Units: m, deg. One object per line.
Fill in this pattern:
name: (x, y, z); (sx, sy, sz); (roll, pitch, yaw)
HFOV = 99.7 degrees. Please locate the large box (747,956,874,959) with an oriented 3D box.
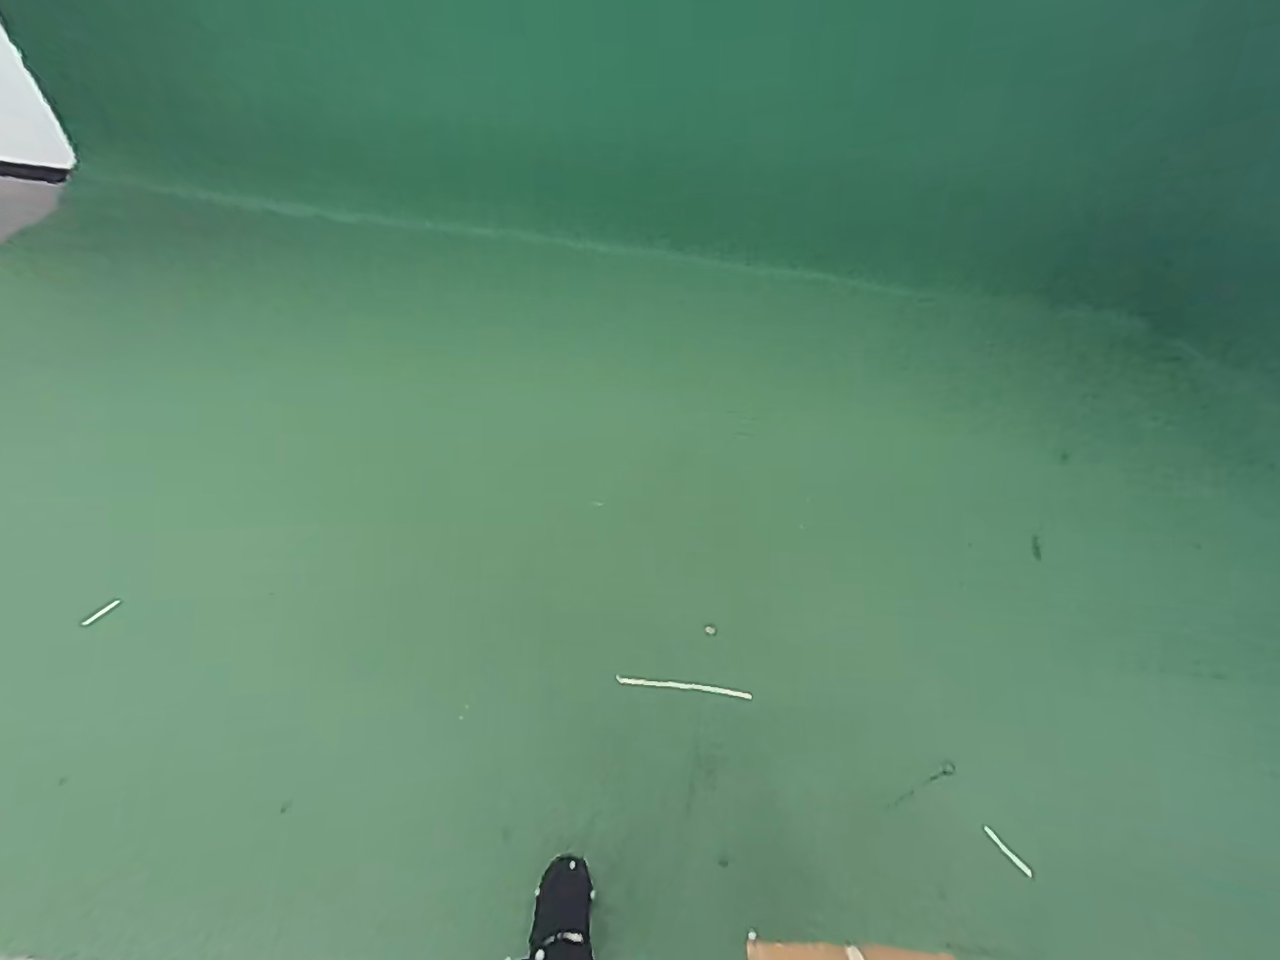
large box: (0.307, 0.854, 0.600); (0.320, 0.408, 0.320); (4, 84, 0)
